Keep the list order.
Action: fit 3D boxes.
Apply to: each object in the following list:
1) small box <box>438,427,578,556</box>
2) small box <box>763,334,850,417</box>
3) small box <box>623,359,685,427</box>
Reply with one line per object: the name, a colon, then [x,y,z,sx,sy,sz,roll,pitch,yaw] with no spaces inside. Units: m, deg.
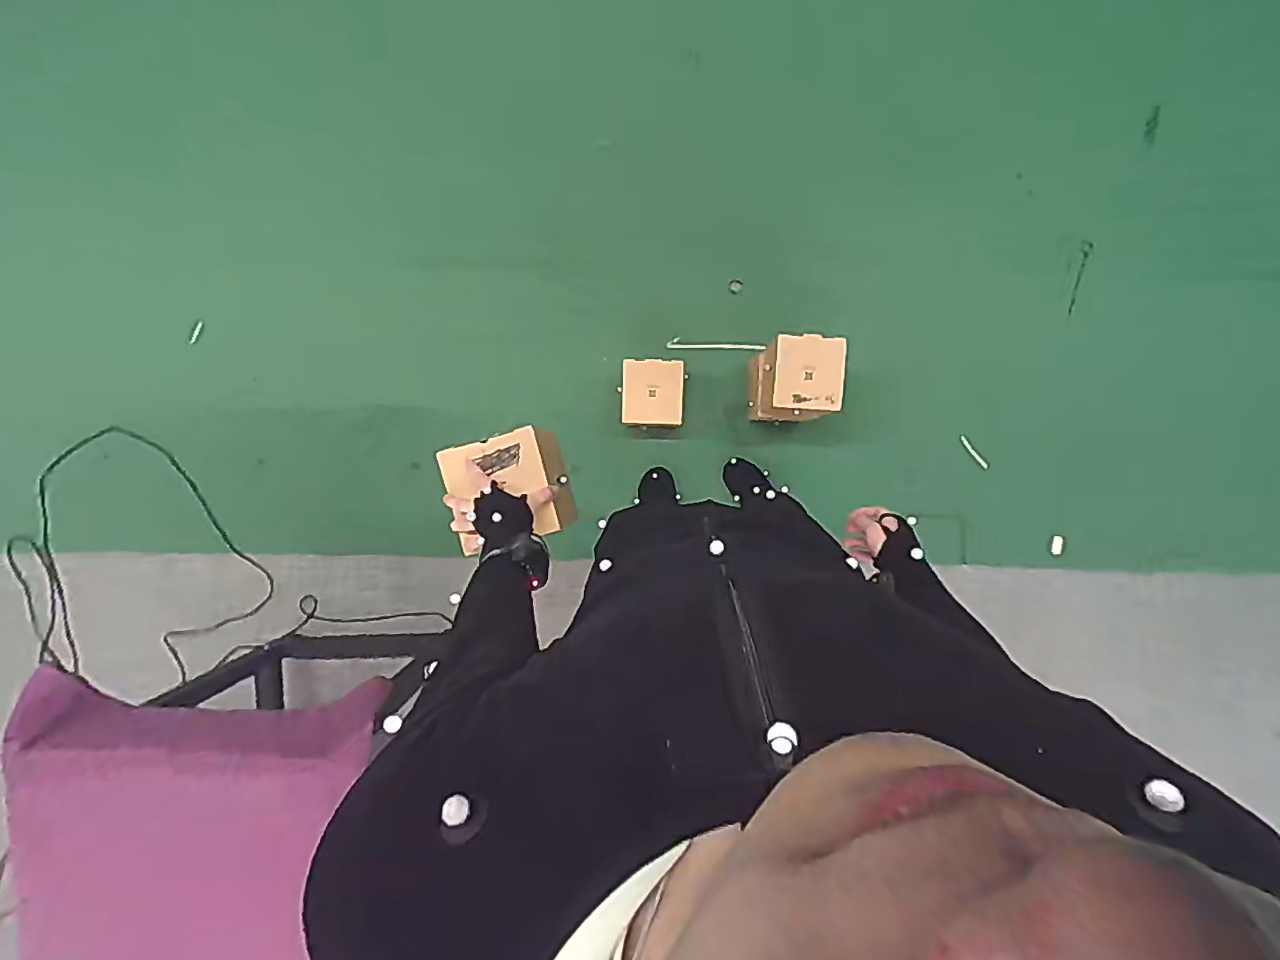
small box: [-0.218,0.019,0.936,0.168,0.176,0.179,-16,90,5]
small box: [0.411,-0.257,1.362,0.168,0.176,0.179,5,93,2]
small box: [0.043,-0.242,1.543,0.168,0.176,0.179,2,92,3]
